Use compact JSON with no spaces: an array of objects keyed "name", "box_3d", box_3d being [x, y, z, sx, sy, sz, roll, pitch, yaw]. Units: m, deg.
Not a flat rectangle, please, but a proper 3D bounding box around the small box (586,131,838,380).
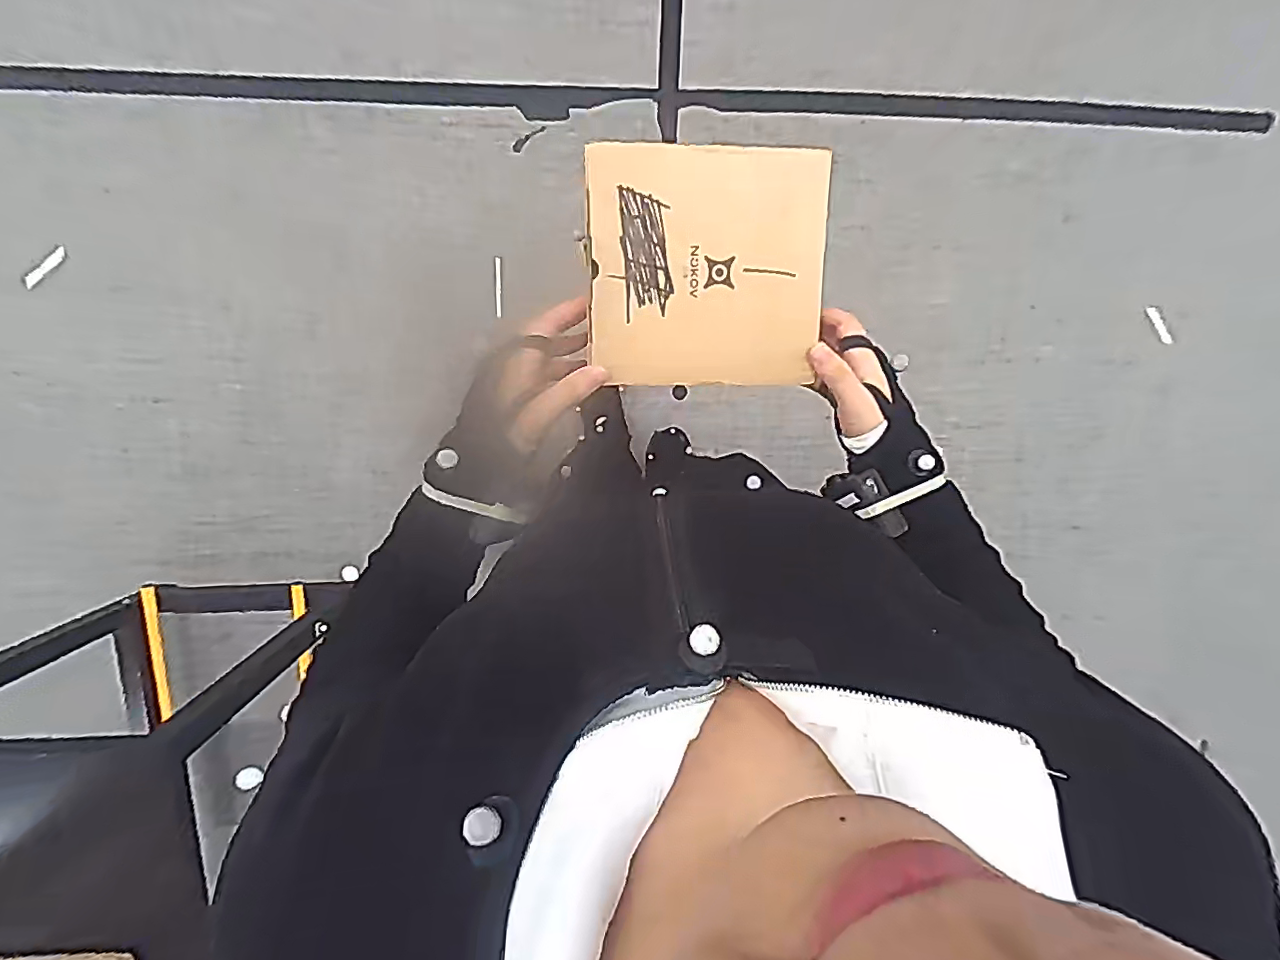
[{"name":"small box","box_3d":[0.044,-0.171,0.463,0.179,0.176,0.168,-1,103,-6]}]
